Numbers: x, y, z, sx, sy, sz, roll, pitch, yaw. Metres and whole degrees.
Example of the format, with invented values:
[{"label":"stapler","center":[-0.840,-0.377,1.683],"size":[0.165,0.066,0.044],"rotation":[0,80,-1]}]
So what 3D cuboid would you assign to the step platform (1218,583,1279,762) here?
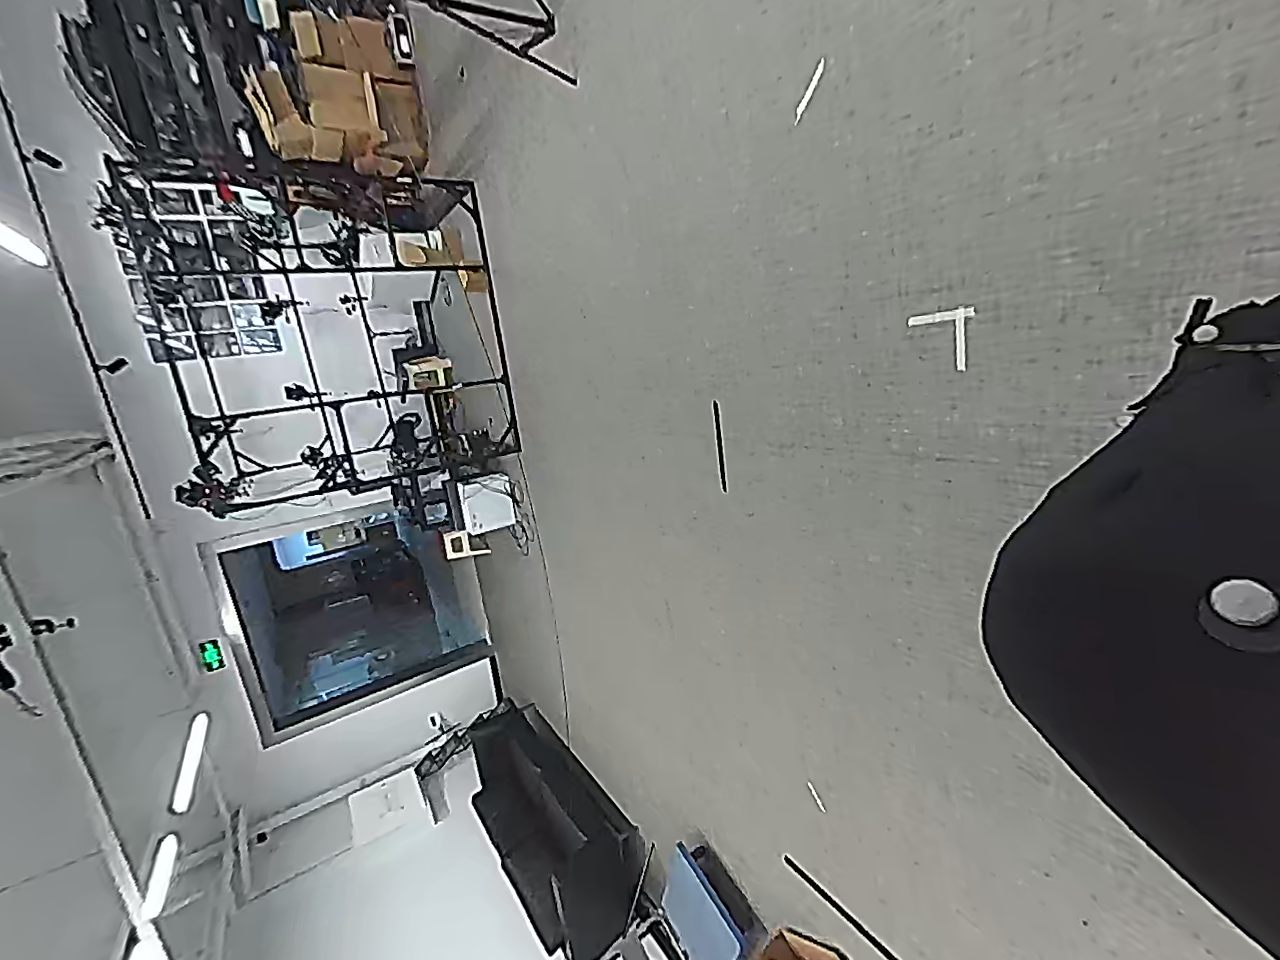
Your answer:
[{"label":"step platform","center":[1.311,0.379,0.758],"size":[0.684,0.204,0.286],"rotation":[12,113,58]}]
